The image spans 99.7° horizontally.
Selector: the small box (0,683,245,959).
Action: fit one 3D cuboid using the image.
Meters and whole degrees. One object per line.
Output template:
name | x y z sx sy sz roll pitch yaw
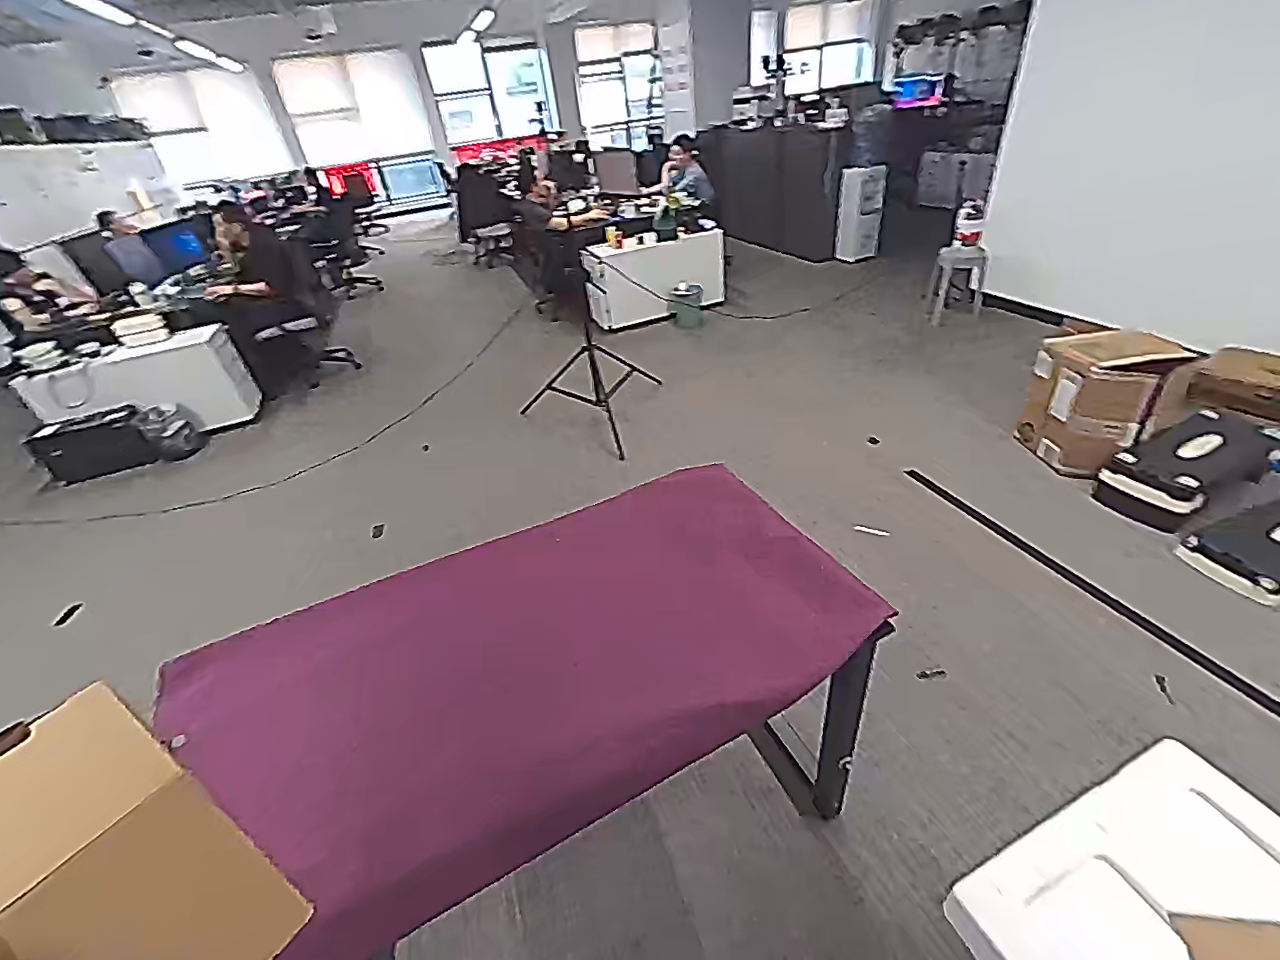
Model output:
small box | -0.519 0.337 0.504 0.179 0.176 0.168 21 39 26
